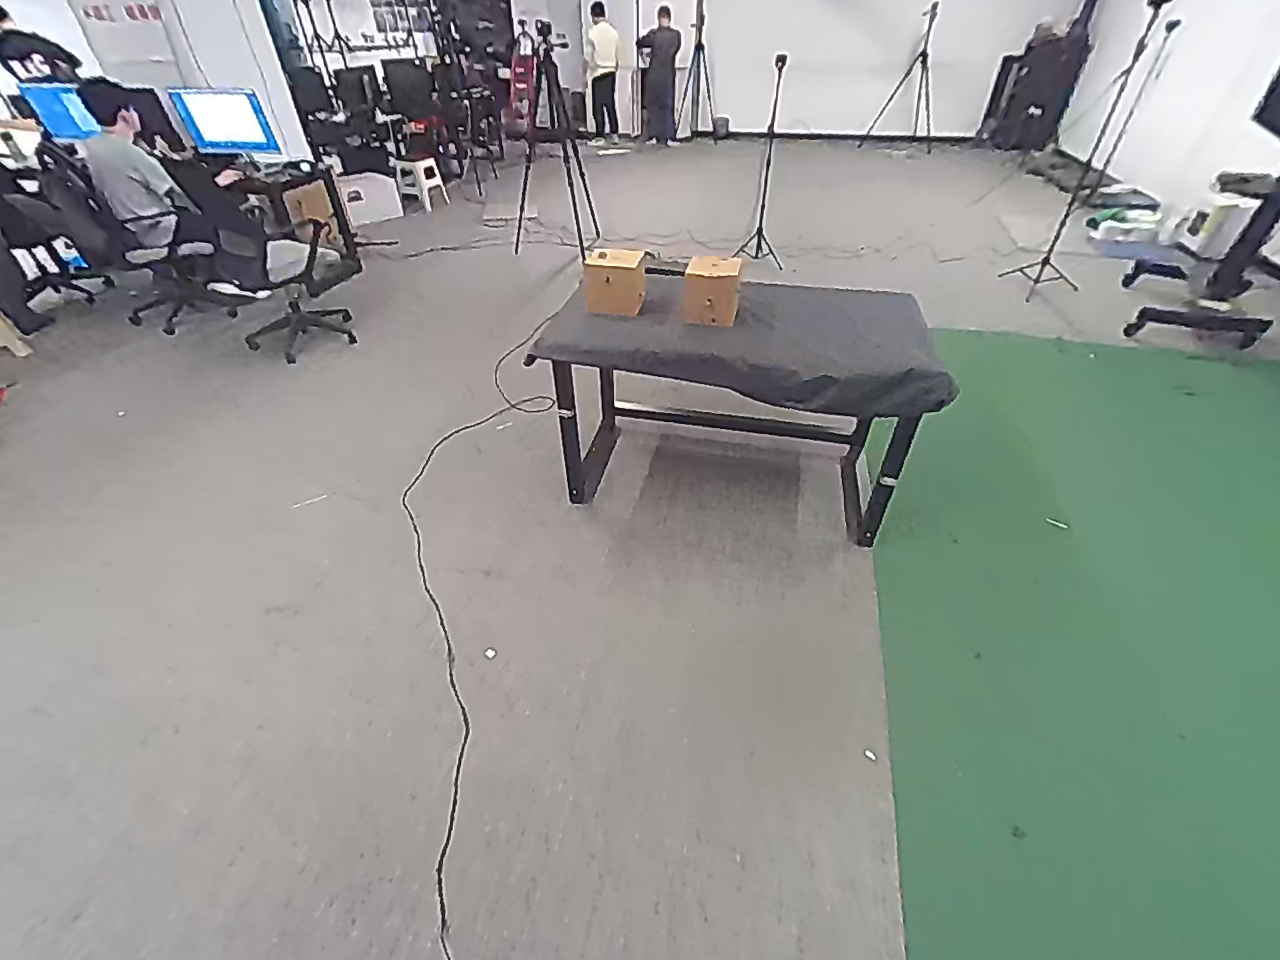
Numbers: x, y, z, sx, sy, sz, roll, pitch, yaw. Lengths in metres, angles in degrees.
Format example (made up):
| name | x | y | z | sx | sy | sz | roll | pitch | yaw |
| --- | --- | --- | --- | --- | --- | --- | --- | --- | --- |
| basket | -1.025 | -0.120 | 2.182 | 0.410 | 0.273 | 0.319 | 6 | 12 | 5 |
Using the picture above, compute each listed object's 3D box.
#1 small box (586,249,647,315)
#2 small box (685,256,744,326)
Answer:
| name | x | y | z | sx | sy | sz | roll | pitch | yaw |
| --- | --- | --- | --- | --- | --- | --- | --- | --- | --- |
| small box | -0.076 | -0.677 | 1.850 | 0.179 | 0.176 | 0.168 | 8 | 41 | 8 |
| small box | 0.245 | -0.623 | 1.786 | 0.168 | 0.176 | 0.179 | 9 | 41 | 11 |
